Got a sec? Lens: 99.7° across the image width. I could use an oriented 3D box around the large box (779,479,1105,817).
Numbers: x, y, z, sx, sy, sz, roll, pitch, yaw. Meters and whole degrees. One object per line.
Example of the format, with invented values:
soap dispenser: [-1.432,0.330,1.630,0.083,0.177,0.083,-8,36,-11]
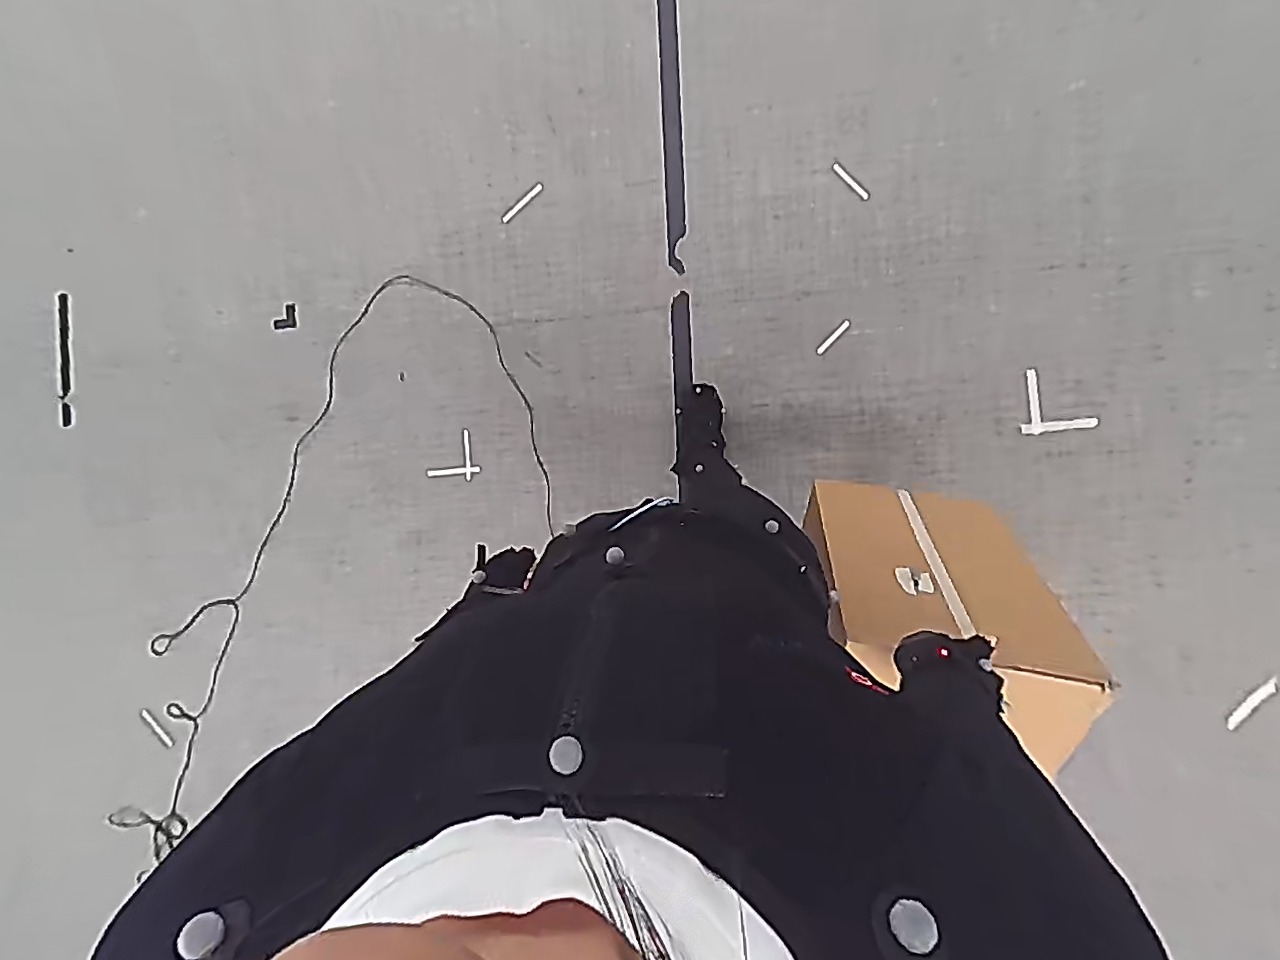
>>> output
large box: [0.422,0.247,0.894,0.320,0.408,0.320,8,122,8]
